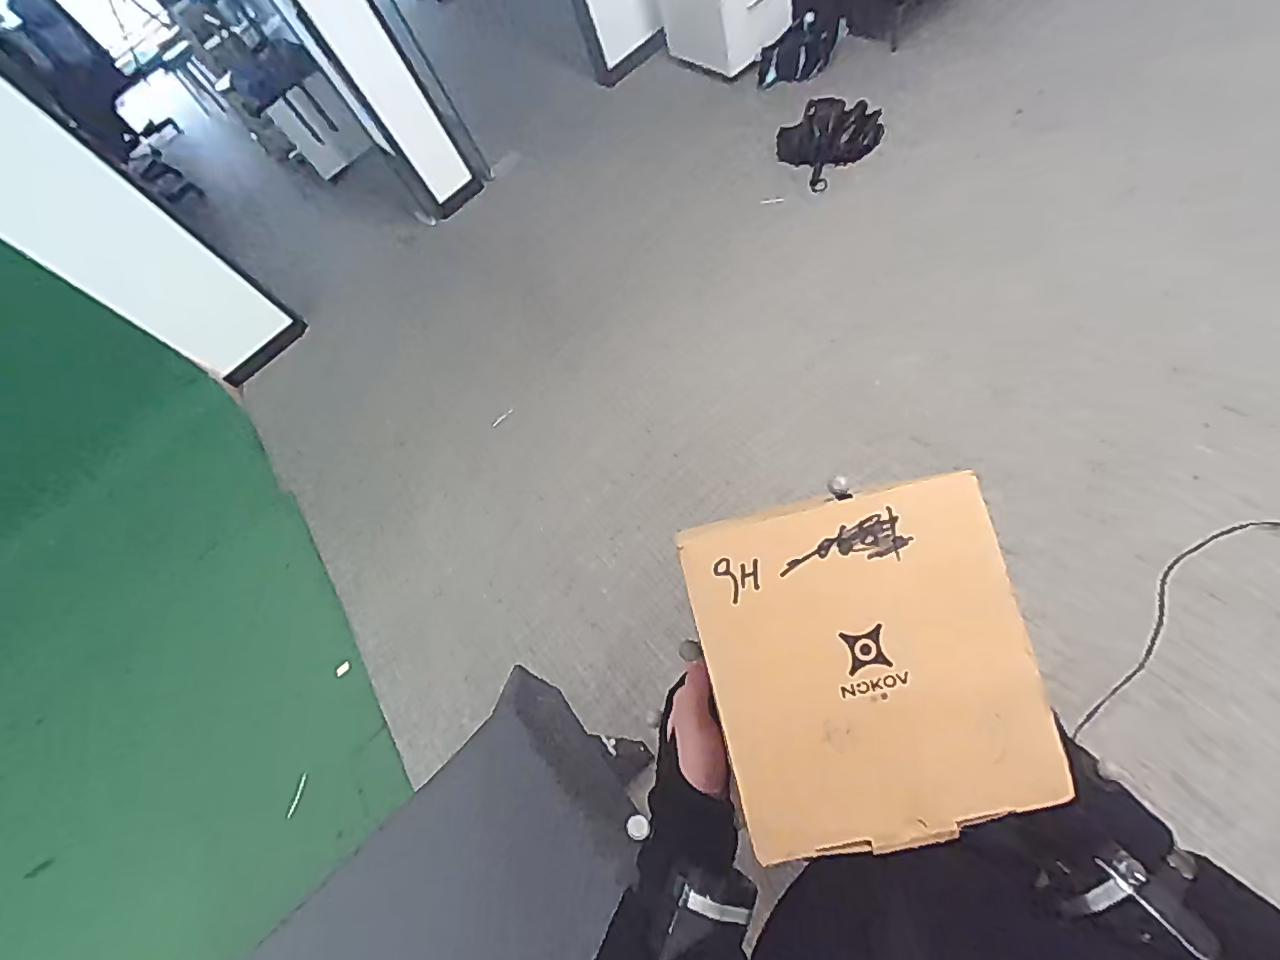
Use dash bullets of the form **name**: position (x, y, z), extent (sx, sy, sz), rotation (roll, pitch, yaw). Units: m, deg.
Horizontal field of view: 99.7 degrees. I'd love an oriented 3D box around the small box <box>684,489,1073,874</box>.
- **small box**: position (0.128, 0.110, 0.365), extent (0.168, 0.176, 0.179), rotation (-14, 85, 2)
